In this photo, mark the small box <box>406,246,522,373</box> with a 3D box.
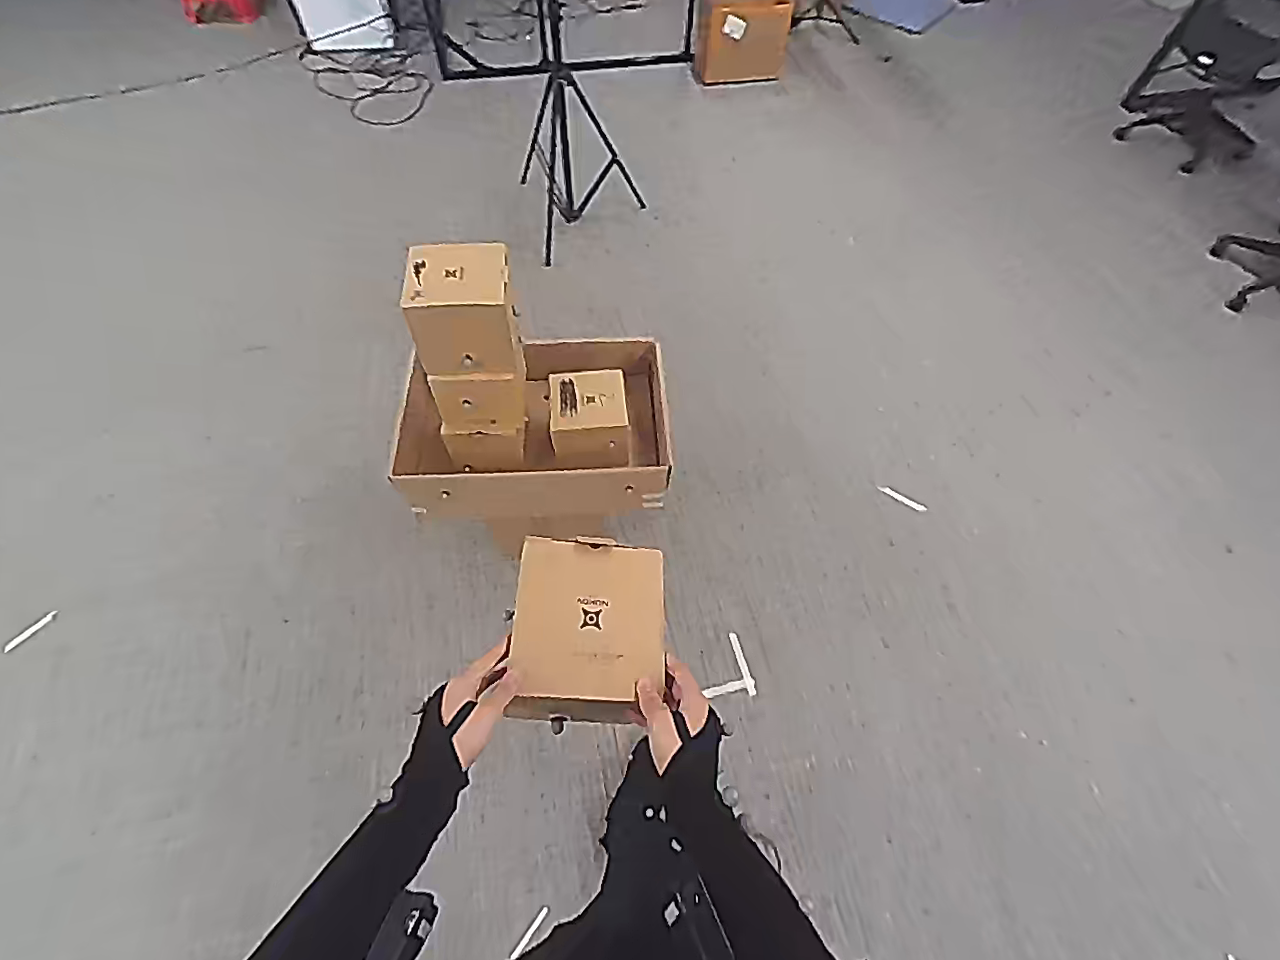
[{"bbox_3d":[-0.320,-0.317,1.023,0.179,0.176,0.168,-3,59,-6],"label":"small box"}]

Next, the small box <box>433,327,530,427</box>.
[{"bbox_3d":[-0.329,-0.225,1.159,0.168,0.176,0.179,-2,59,-5],"label":"small box"}]

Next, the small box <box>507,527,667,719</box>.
[{"bbox_3d":[-0.068,0.179,0.659,0.168,0.176,0.179,7,56,-10],"label":"small box"}]
